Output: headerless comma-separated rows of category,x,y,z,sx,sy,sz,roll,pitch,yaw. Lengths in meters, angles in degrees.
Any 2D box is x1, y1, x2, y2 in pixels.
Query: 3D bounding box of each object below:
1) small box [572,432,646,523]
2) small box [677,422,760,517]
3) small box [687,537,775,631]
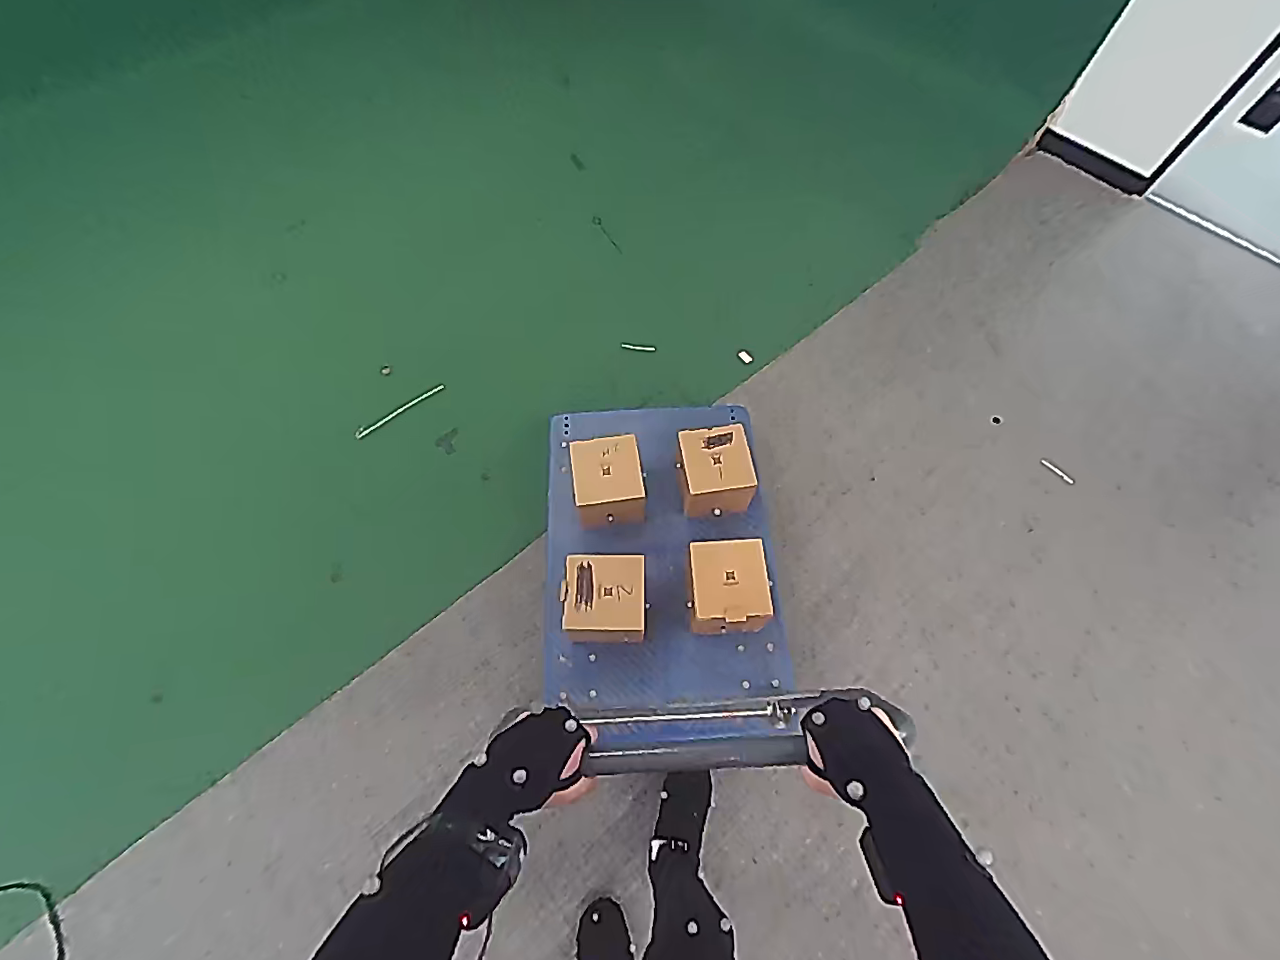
small box,-0.077,0.002,1.365,0.168,0.176,0.179,-7,65,-5
small box,0.191,-0.024,1.380,0.168,0.176,0.179,-8,65,-3
small box,0.201,0.244,1.253,0.168,0.176,0.179,-3,65,-1
